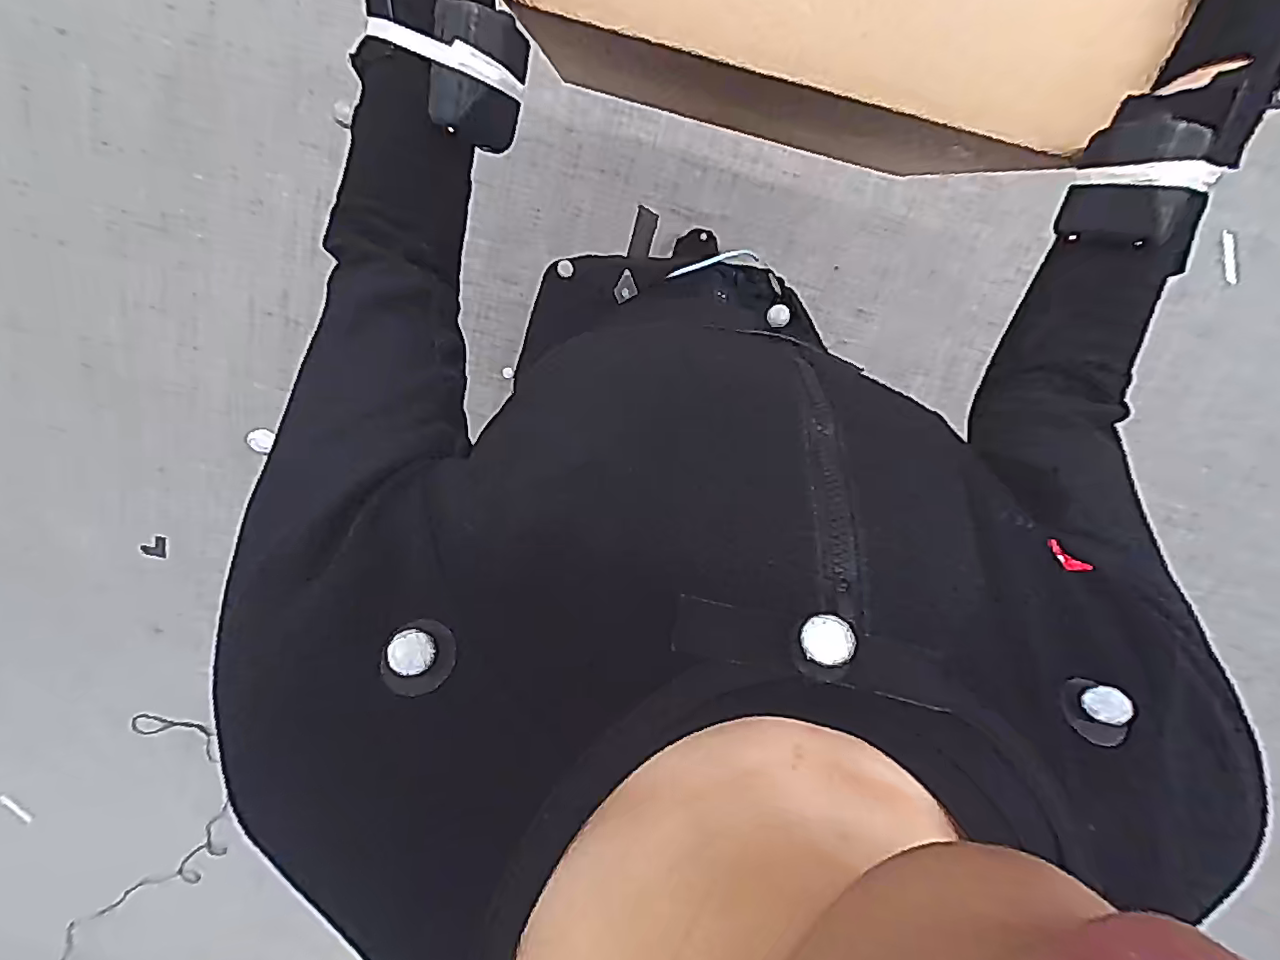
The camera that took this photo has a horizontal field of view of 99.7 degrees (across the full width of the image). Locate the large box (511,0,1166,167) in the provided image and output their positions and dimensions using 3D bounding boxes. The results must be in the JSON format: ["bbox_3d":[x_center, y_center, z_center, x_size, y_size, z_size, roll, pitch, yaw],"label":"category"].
[{"bbox_3d":[0.138,-0.456,0.408,0.408,0.320,0.320,10,119,-7],"label":"large box"}]
